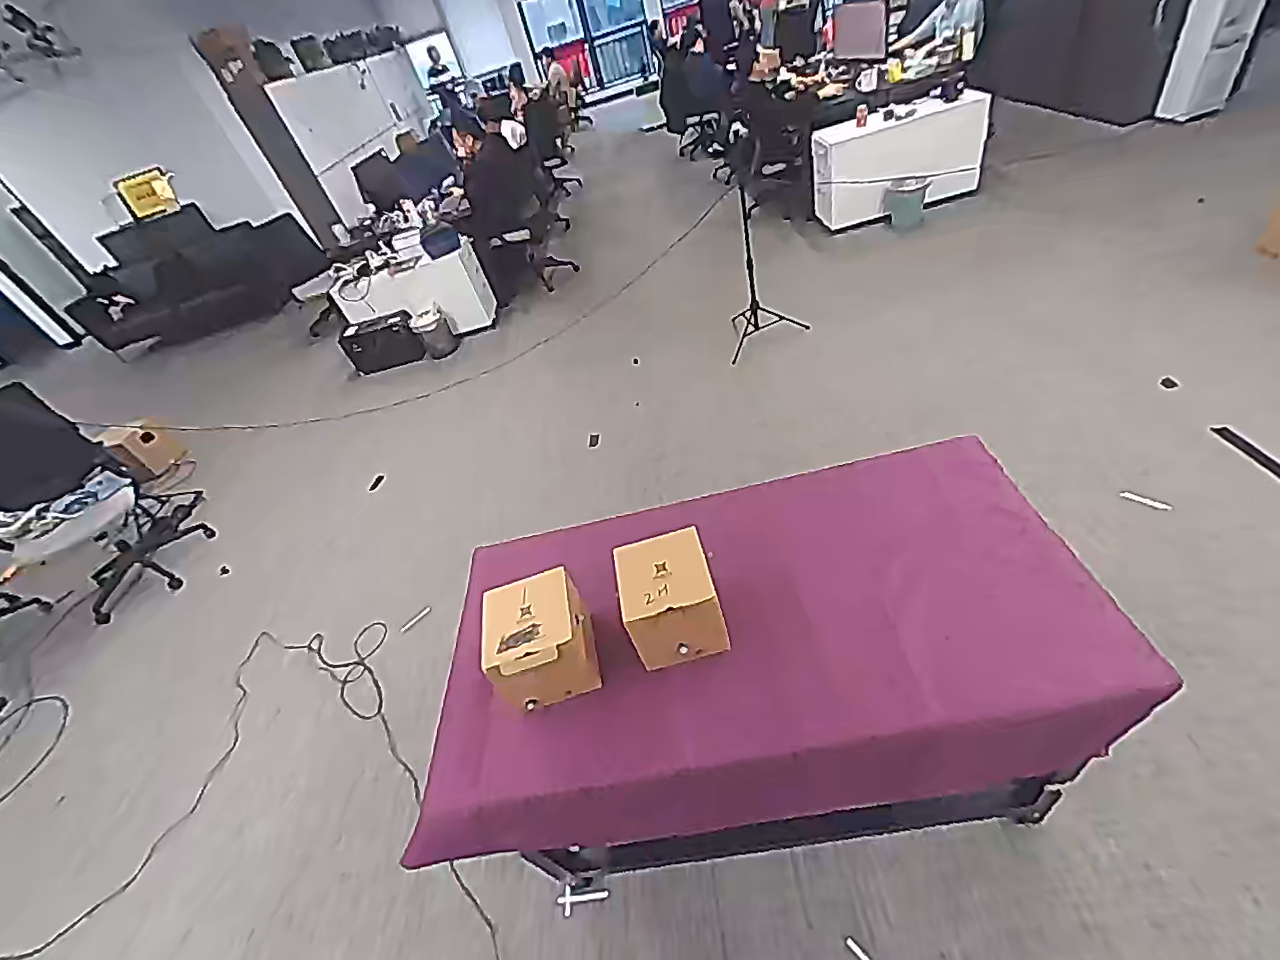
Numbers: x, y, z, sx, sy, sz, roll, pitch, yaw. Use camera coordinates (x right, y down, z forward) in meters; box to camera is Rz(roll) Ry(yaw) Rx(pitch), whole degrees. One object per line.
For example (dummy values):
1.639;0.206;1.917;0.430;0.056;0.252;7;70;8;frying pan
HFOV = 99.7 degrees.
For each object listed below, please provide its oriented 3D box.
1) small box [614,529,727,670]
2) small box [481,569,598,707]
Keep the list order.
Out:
0.056;0.226;1.023;0.168;0.176;0.179;-17;41;4;small box
-0.188;0.307;1.029;0.168;0.176;0.179;-19;40;0;small box
